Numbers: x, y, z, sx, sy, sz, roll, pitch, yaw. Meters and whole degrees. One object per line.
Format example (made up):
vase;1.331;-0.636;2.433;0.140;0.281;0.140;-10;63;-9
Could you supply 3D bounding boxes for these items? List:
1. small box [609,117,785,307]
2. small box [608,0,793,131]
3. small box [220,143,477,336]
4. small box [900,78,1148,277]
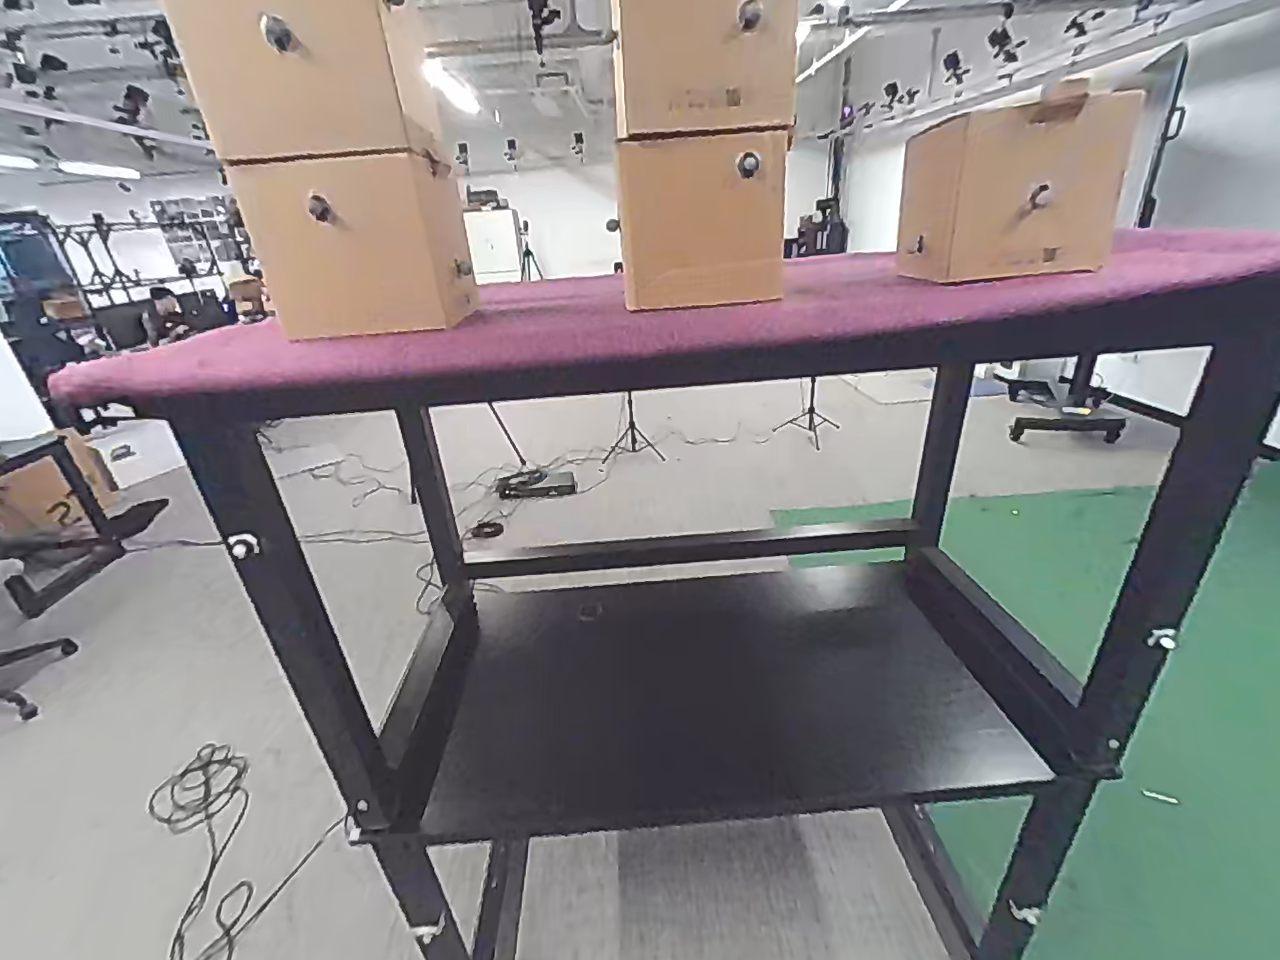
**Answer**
small box;0.061;-0.298;0.626;0.179;0.176;0.168;-5;24;-1
small box;0.055;-0.446;0.559;0.168;0.176;0.179;-4;23;-3
small box;-0.300;-0.262;0.603;0.179;0.176;0.168;-5;27;-1
small box;0.421;-0.335;0.630;0.168;0.176;0.179;-3;24;7
